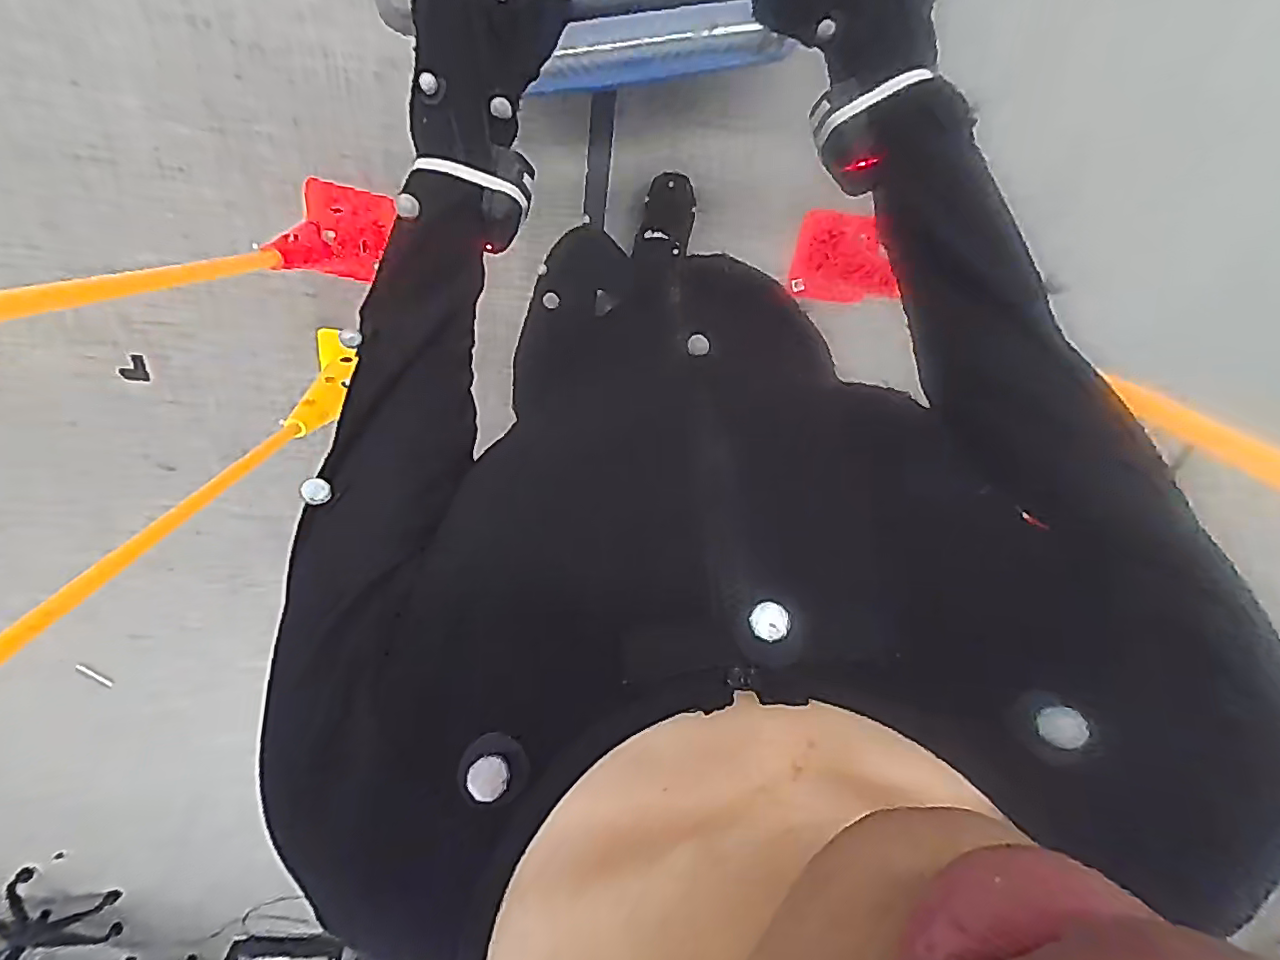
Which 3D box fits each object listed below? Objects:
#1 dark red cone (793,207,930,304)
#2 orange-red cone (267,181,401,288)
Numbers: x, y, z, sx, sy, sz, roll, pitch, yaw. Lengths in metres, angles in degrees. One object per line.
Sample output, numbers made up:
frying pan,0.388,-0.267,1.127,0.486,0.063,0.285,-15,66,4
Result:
dark red cone,0.488,-0.449,1.142,0.201,0.394,0.202,4,120,-7
orange-red cone,-0.645,-0.476,1.095,0.198,0.360,0.199,11,117,-10
